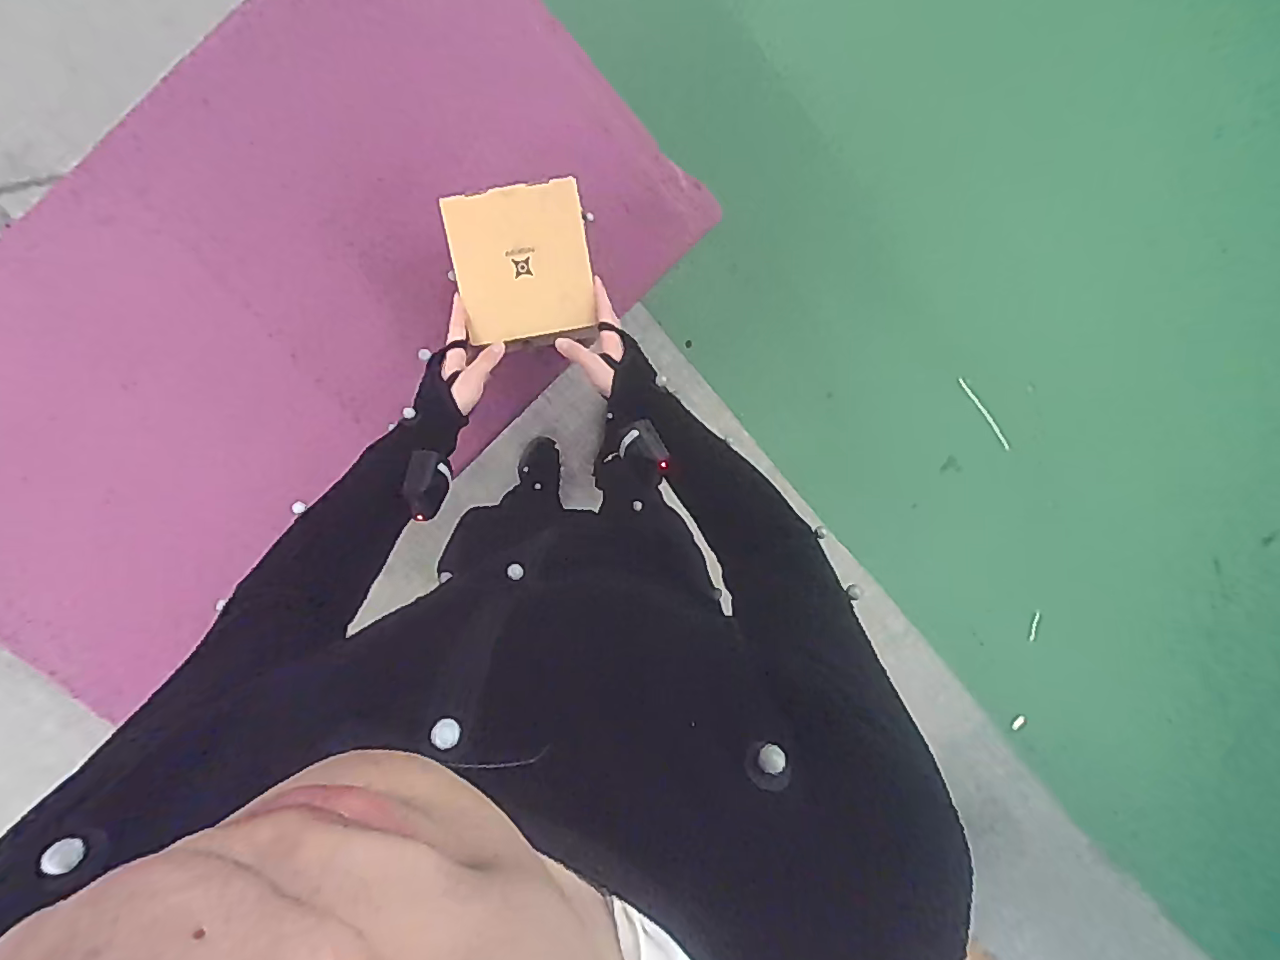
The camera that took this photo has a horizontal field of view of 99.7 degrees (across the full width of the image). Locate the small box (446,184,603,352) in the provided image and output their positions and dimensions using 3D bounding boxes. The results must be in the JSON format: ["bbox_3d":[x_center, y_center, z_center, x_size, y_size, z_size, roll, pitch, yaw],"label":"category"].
[{"bbox_3d":[-0.144,-0.273,0.737,0.168,0.176,0.179,-8,100,-2],"label":"small box"}]
